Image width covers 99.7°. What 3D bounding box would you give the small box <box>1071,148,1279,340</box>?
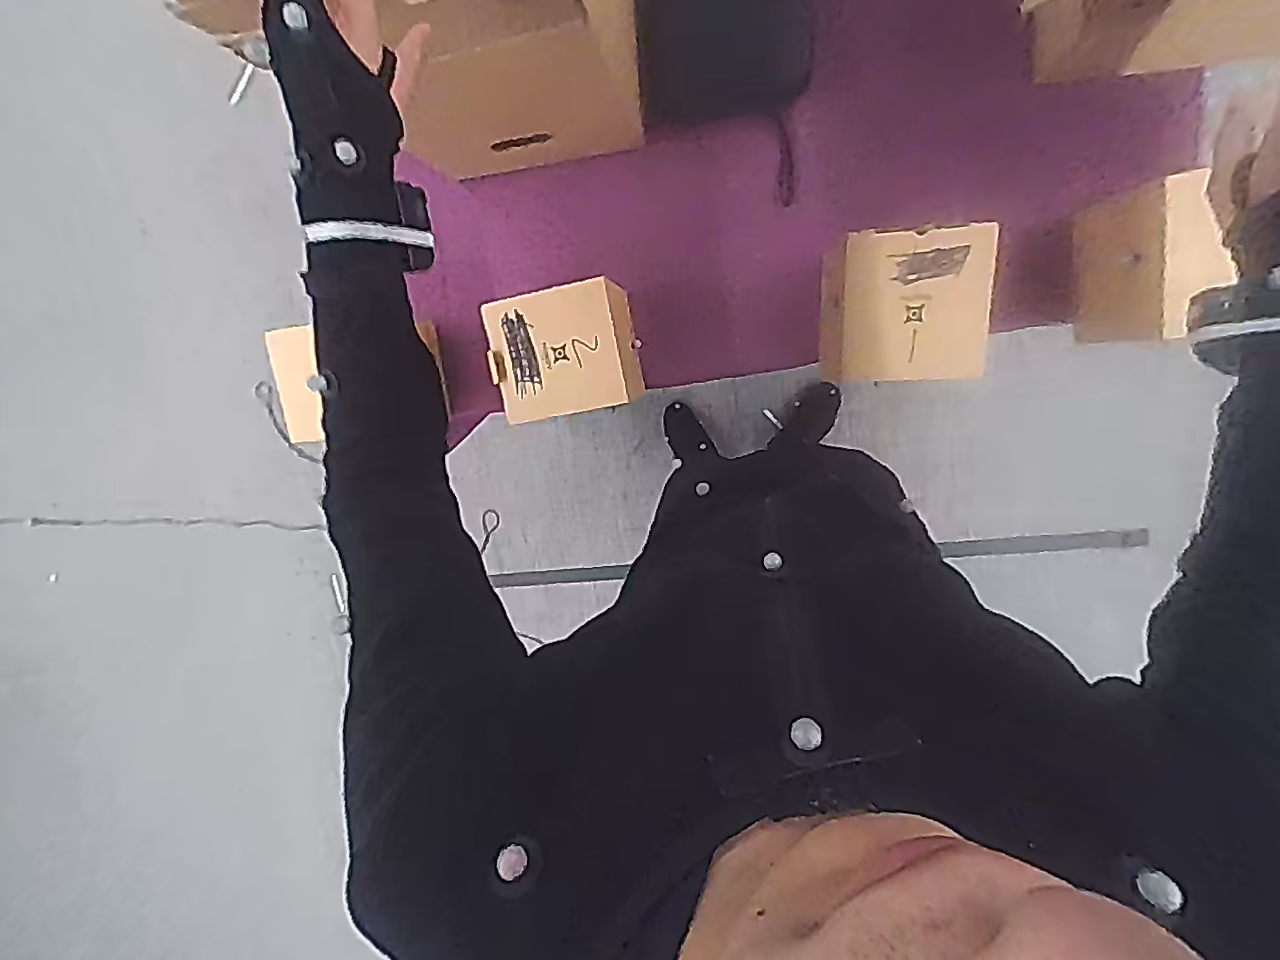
[{"bbox_3d":[0.660,-0.272,0.655,0.168,0.176,0.179,-7,102,12],"label":"small box"}]

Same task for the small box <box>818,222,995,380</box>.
[{"bbox_3d":[0.337,-0.227,0.719,0.168,0.176,0.179,0,104,9],"label":"small box"}]

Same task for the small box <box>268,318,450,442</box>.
[{"bbox_3d":[-0.432,-0.157,0.857,0.179,0.176,0.168,-5,102,9],"label":"small box"}]
